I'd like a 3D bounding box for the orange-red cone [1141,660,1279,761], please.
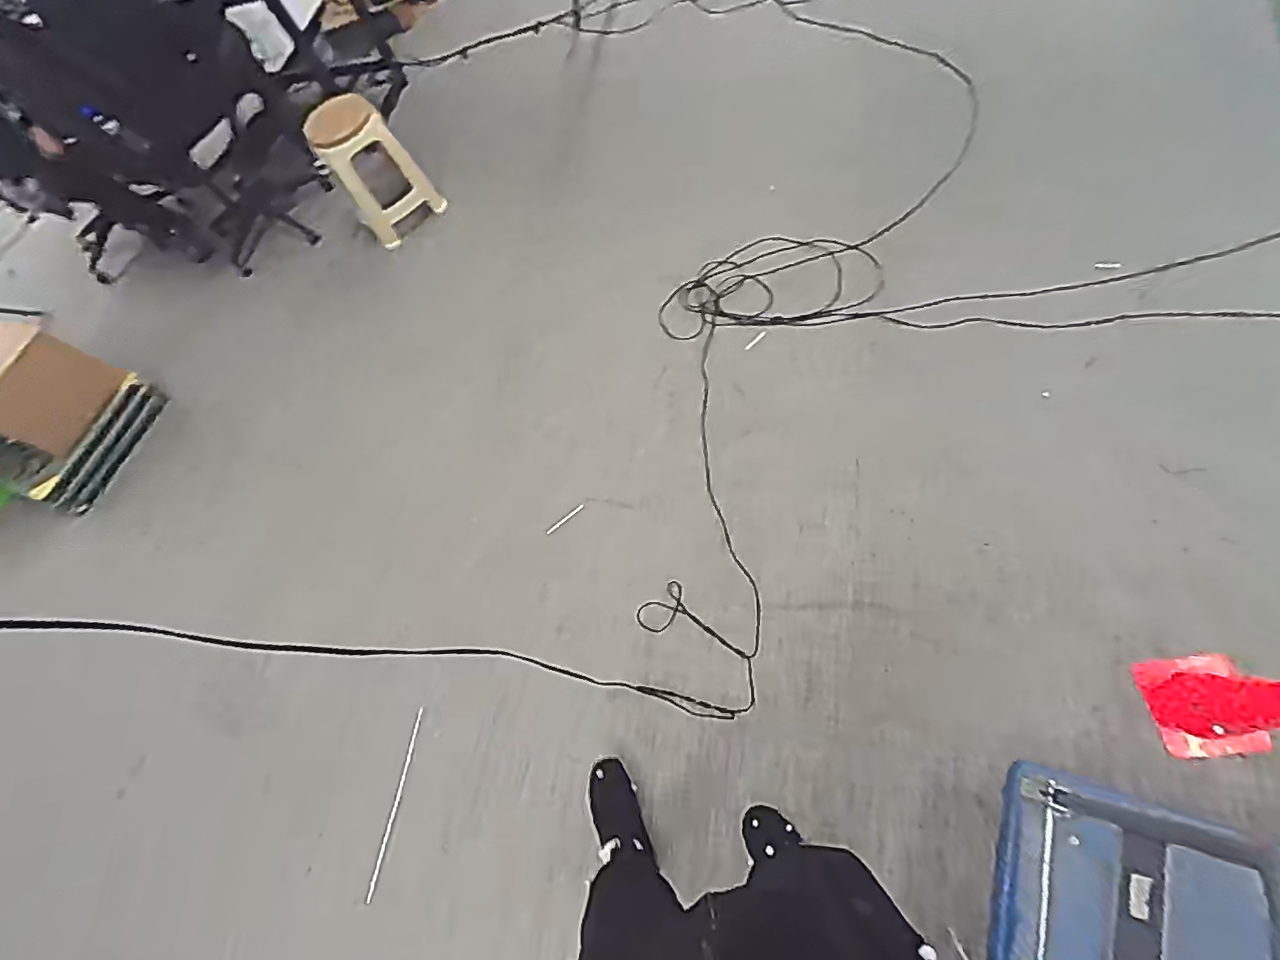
[{"bbox_3d":[1.218,0.438,1.047,0.198,0.360,0.199,-10,63,9],"label":"orange-red cone"}]
